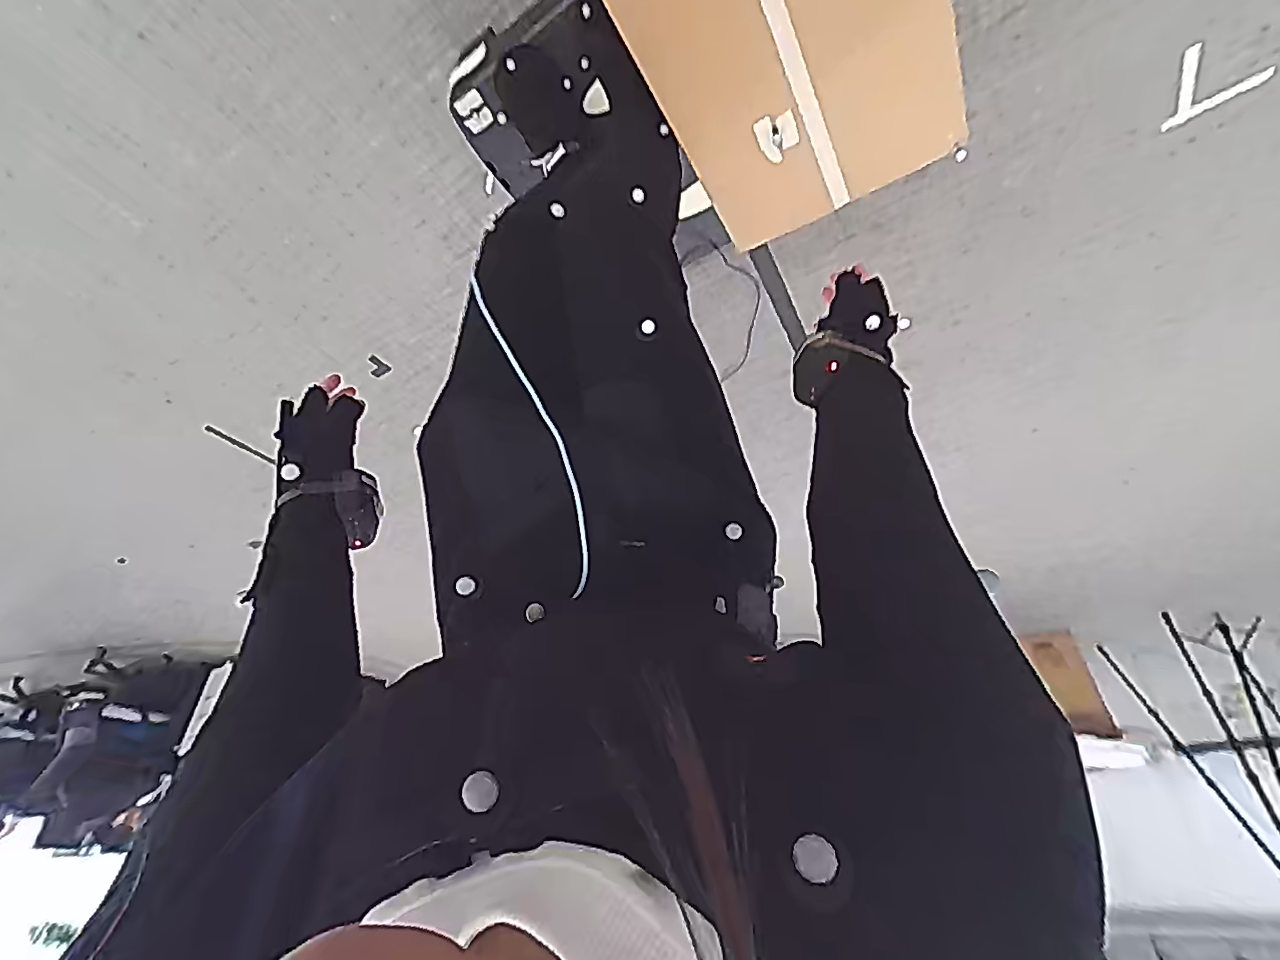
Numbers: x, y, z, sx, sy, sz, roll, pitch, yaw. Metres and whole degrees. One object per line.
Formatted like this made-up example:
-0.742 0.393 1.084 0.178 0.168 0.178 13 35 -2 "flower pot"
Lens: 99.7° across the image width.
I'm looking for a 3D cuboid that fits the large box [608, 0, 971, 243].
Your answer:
0.188 -0.616 0.694 0.320 0.320 0.408 -15 145 30 "large box"
